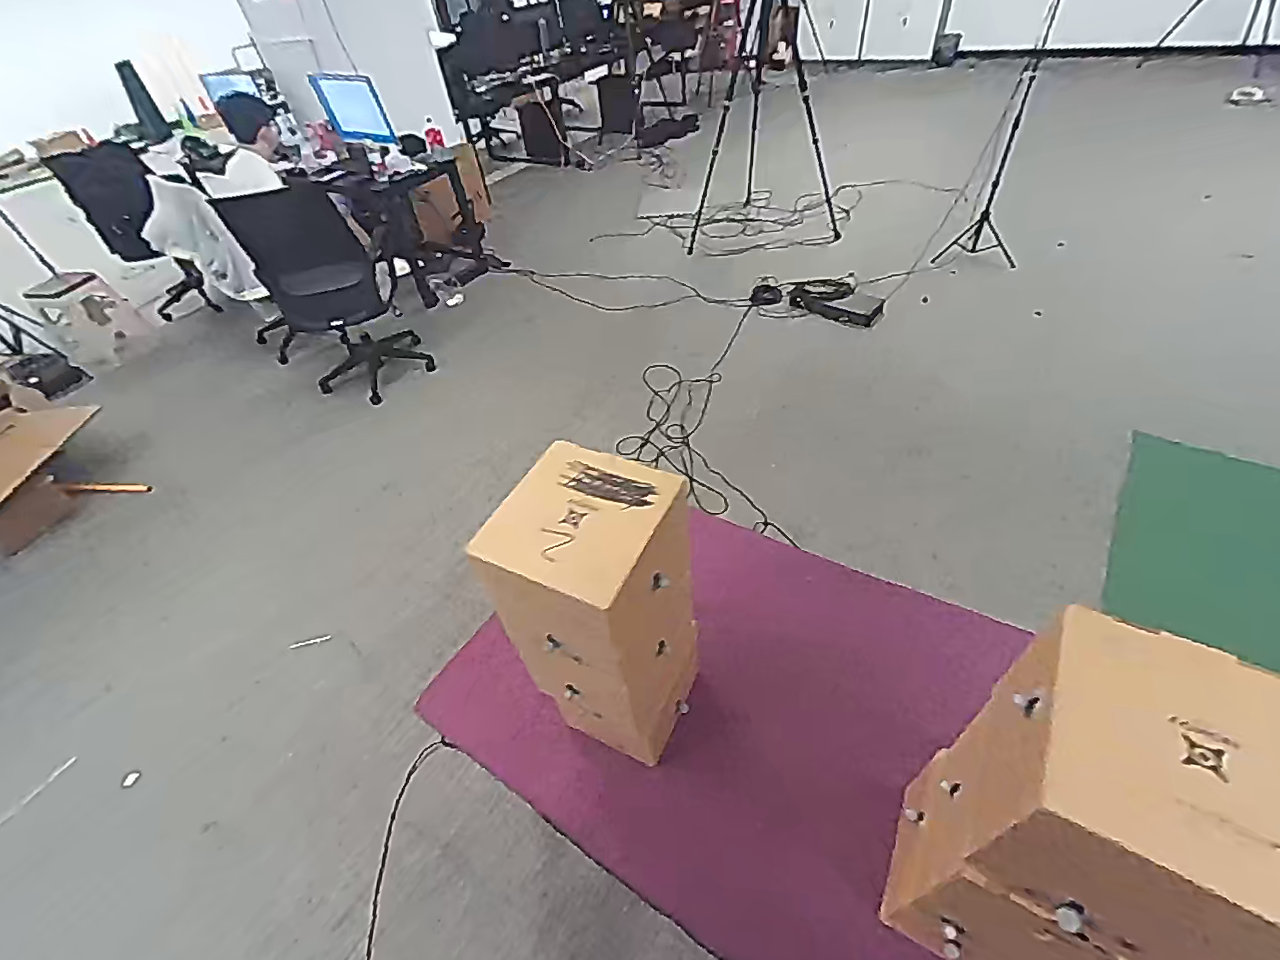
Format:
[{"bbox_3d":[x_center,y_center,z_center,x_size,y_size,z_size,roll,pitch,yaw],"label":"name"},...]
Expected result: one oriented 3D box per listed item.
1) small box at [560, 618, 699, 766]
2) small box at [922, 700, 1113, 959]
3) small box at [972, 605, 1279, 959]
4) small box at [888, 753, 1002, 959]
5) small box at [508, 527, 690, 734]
[{"bbox_3d":[-0.017,0.302,0.839,0.168,0.176,0.179,16,50,22],"label":"small box"},{"bbox_3d":[0.385,0.354,0.506,0.168,0.176,0.179,21,50,26],"label":"small box"},{"bbox_3d":[0.372,0.234,0.397,0.168,0.176,0.179,22,51,27],"label":"small box"},{"bbox_3d":[0.403,0.466,0.626,0.168,0.176,0.179,19,49,25],"label":"small box"},{"bbox_3d":[-0.039,0.199,0.712,0.168,0.176,0.179,18,51,22],"label":"small box"}]
